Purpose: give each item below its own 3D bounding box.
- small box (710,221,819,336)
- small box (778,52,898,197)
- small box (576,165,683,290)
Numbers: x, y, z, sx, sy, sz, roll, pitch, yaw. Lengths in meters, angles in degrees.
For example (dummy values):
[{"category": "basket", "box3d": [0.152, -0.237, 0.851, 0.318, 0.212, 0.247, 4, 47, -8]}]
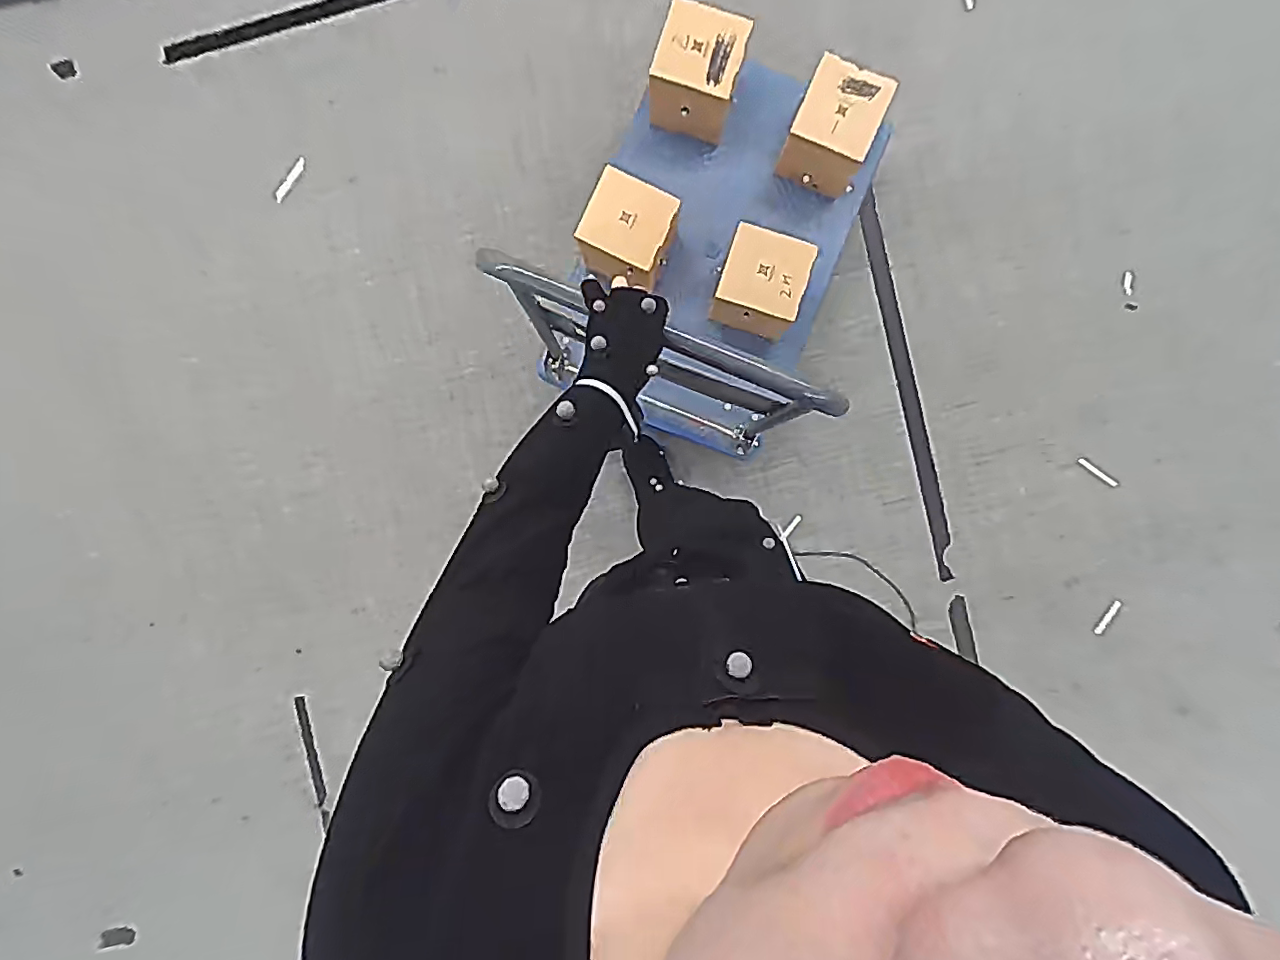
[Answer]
[{"category": "small box", "box3d": [0.265, -0.435, 1.198, 0.179, 0.176, 0.168, 19, 93, 1]}, {"category": "small box", "box3d": [0.421, -0.765, 1.183, 0.168, 0.176, 0.179, 24, 94, 1]}, {"category": "small box", "box3d": [-0.022, -0.547, 1.201, 0.179, 0.176, 0.168, 25, 92, -1]}]
